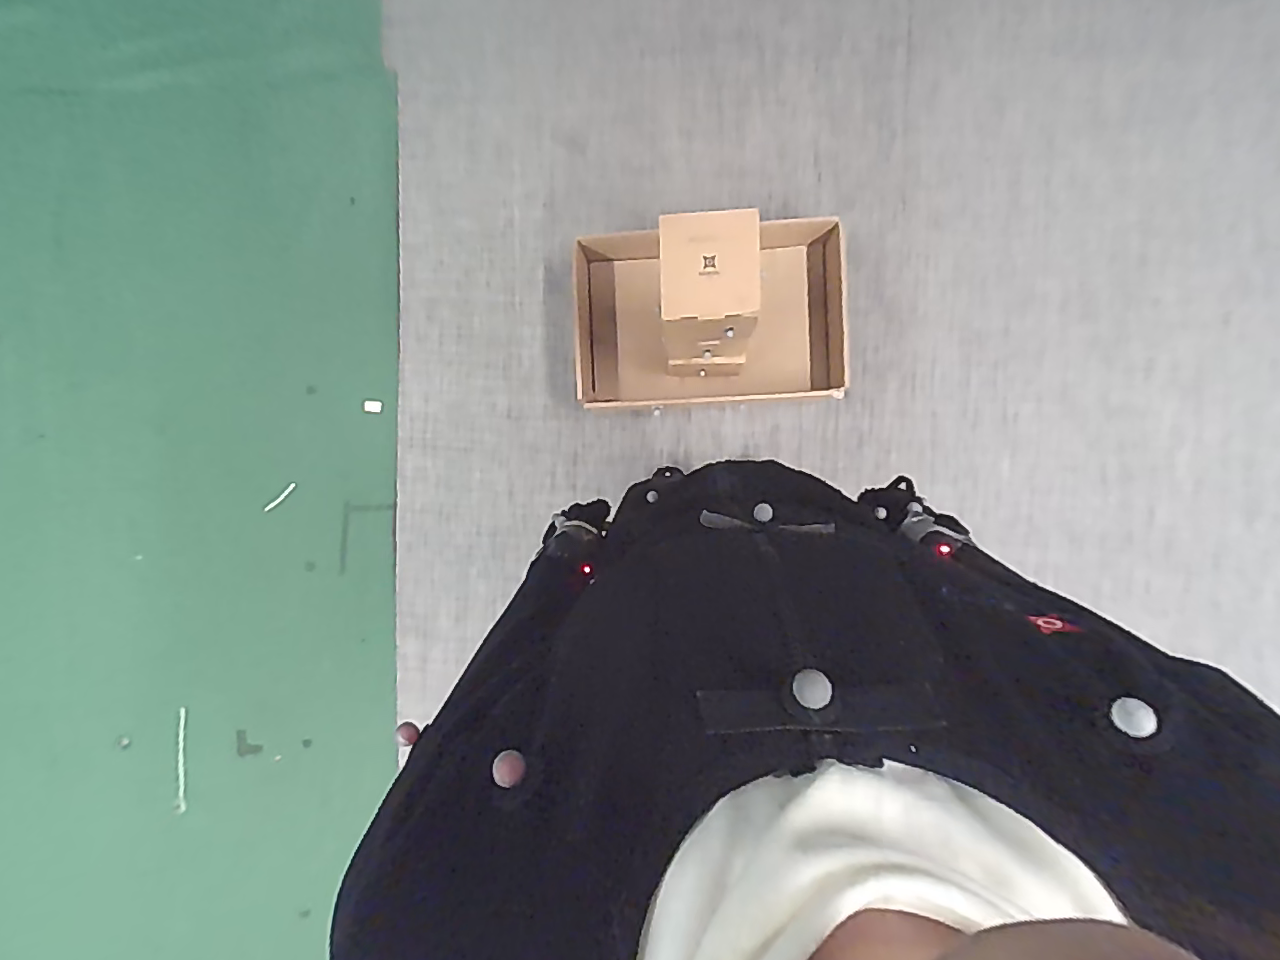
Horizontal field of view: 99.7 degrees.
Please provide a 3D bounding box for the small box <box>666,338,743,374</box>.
[{"bbox_3d":[0.155,-0.356,1.312,0.179,0.176,0.168,1,91,6],"label":"small box"}]

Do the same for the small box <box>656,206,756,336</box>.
[{"bbox_3d":[0.116,-0.363,0.972,0.168,0.176,0.179,-1,90,4],"label":"small box"}]

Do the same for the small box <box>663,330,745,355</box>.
[{"bbox_3d":[0.133,-0.369,1.153,0.168,0.176,0.179,-4,90,6],"label":"small box"}]
